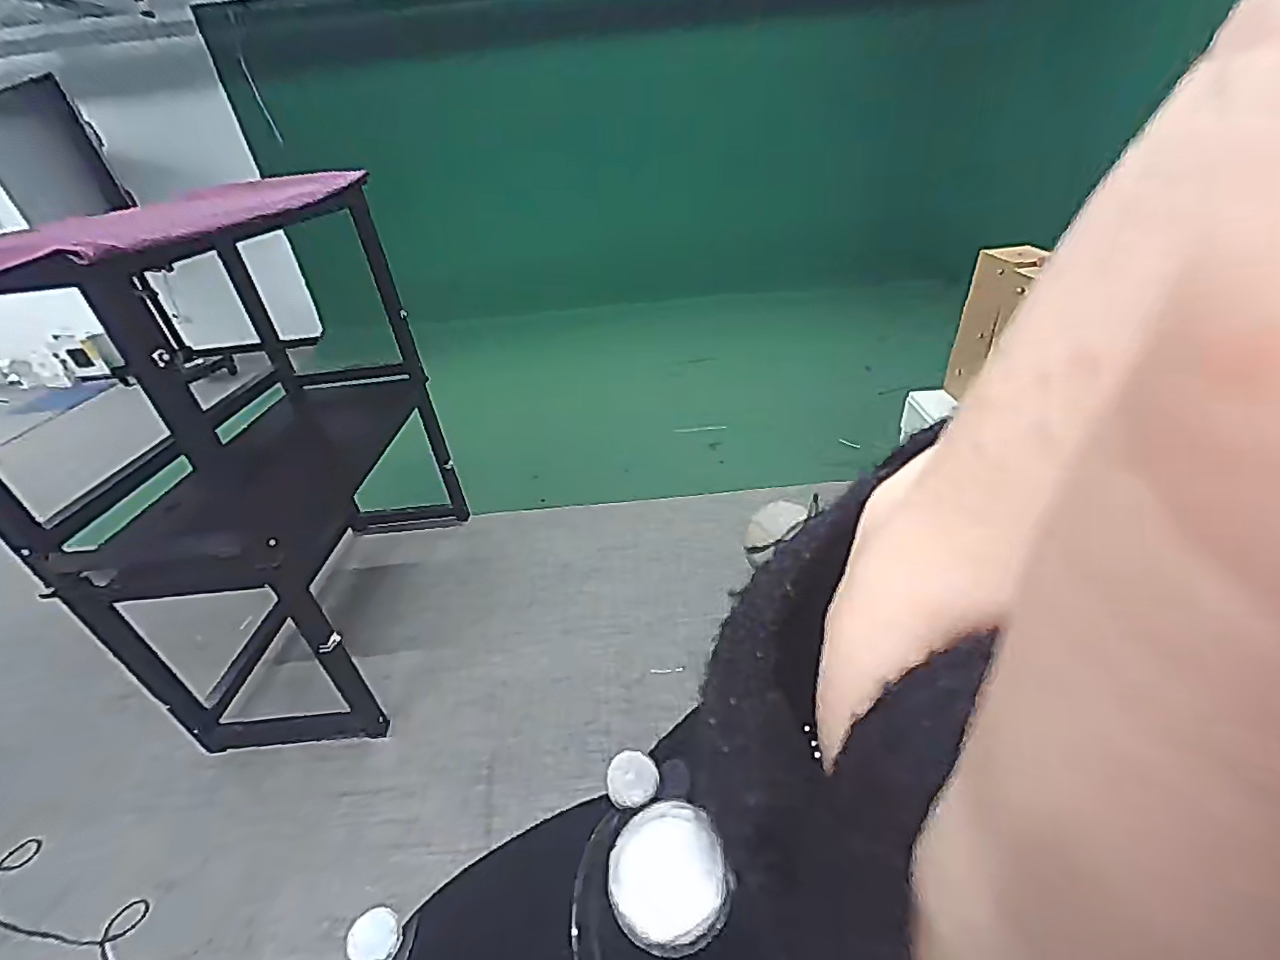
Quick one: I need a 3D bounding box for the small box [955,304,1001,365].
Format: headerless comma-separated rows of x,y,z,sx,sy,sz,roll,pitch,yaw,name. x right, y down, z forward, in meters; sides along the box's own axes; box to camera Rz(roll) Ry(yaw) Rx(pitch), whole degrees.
1.212,-0.497,1.838,0.168,0.176,0.179,-6,34,-2,small box

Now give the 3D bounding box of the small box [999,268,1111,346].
1.166,-0.493,1.538,0.168,0.176,0.179,-5,33,2,small box

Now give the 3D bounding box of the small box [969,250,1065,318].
1.204,-0.631,1.746,0.168,0.176,0.179,-6,35,-2,small box
